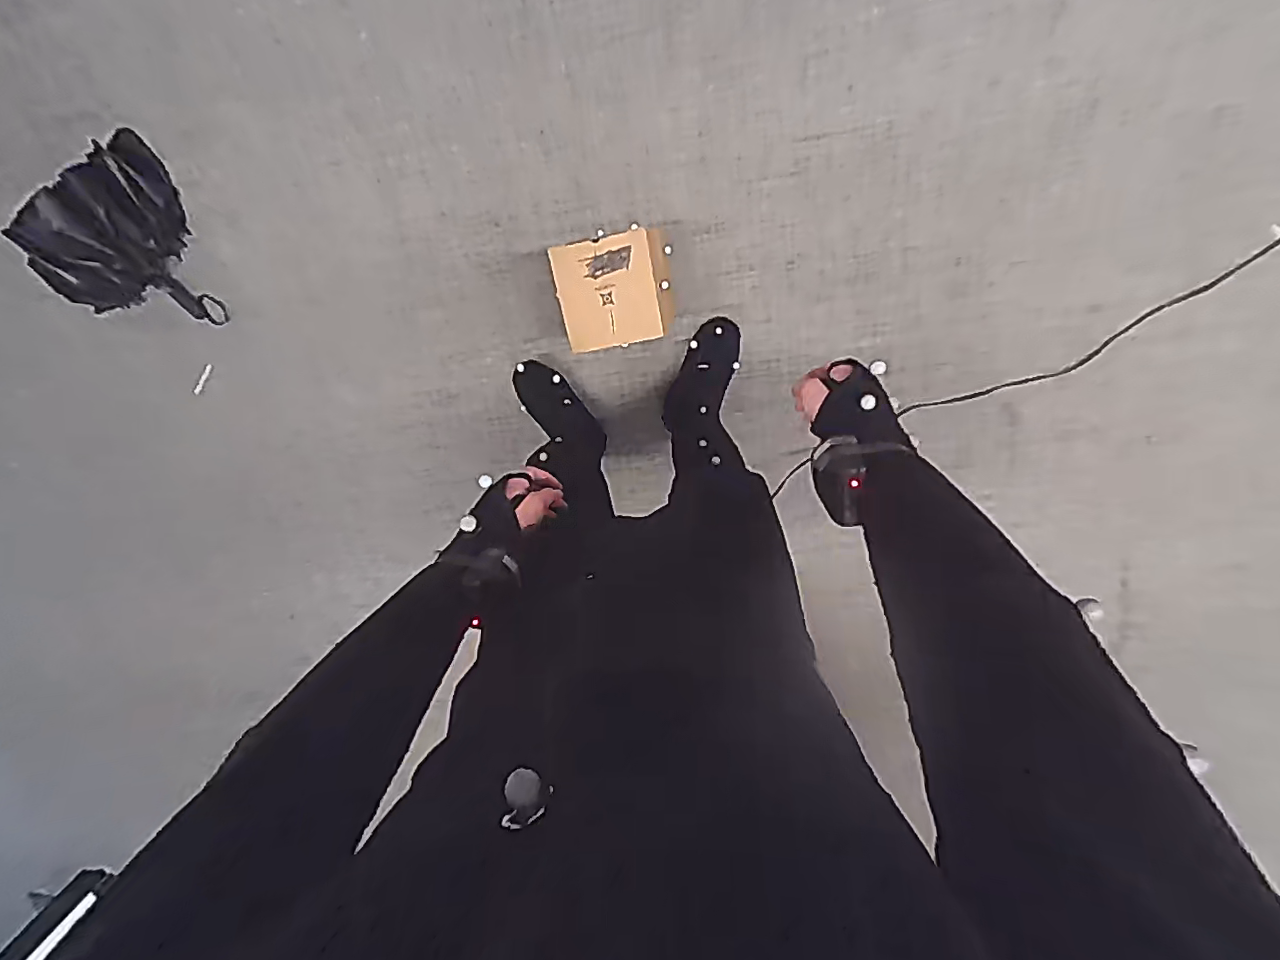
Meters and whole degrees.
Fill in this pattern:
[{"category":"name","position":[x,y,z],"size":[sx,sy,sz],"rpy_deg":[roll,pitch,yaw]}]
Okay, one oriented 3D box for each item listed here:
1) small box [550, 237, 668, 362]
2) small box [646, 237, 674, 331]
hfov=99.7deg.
[{"category":"small box","position":[-0.045,-0.325,0.974],"size":[0.168,0.176,0.179],"rpy_deg":[-8,111,10]},{"category":"small box","position":[-0.024,-0.394,1.121],"size":[0.168,0.176,0.179],"rpy_deg":[-8,112,11]}]
